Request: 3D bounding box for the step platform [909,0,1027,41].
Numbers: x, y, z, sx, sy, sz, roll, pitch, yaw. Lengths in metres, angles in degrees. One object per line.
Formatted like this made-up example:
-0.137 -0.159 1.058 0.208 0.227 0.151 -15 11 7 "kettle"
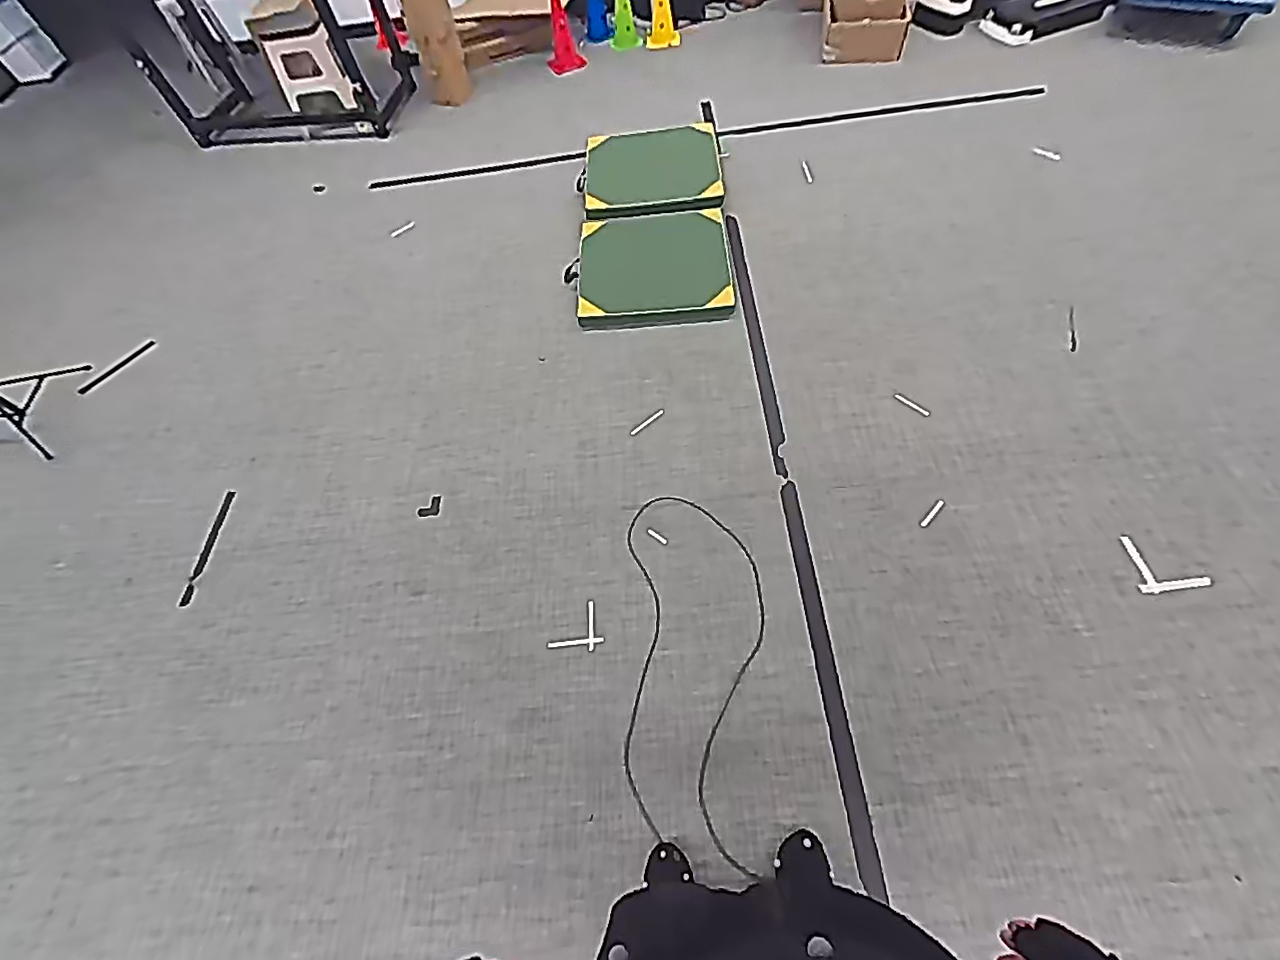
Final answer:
1.863 -2.707 3.015 0.684 0.204 0.286 -31 61 -11 "step platform"
